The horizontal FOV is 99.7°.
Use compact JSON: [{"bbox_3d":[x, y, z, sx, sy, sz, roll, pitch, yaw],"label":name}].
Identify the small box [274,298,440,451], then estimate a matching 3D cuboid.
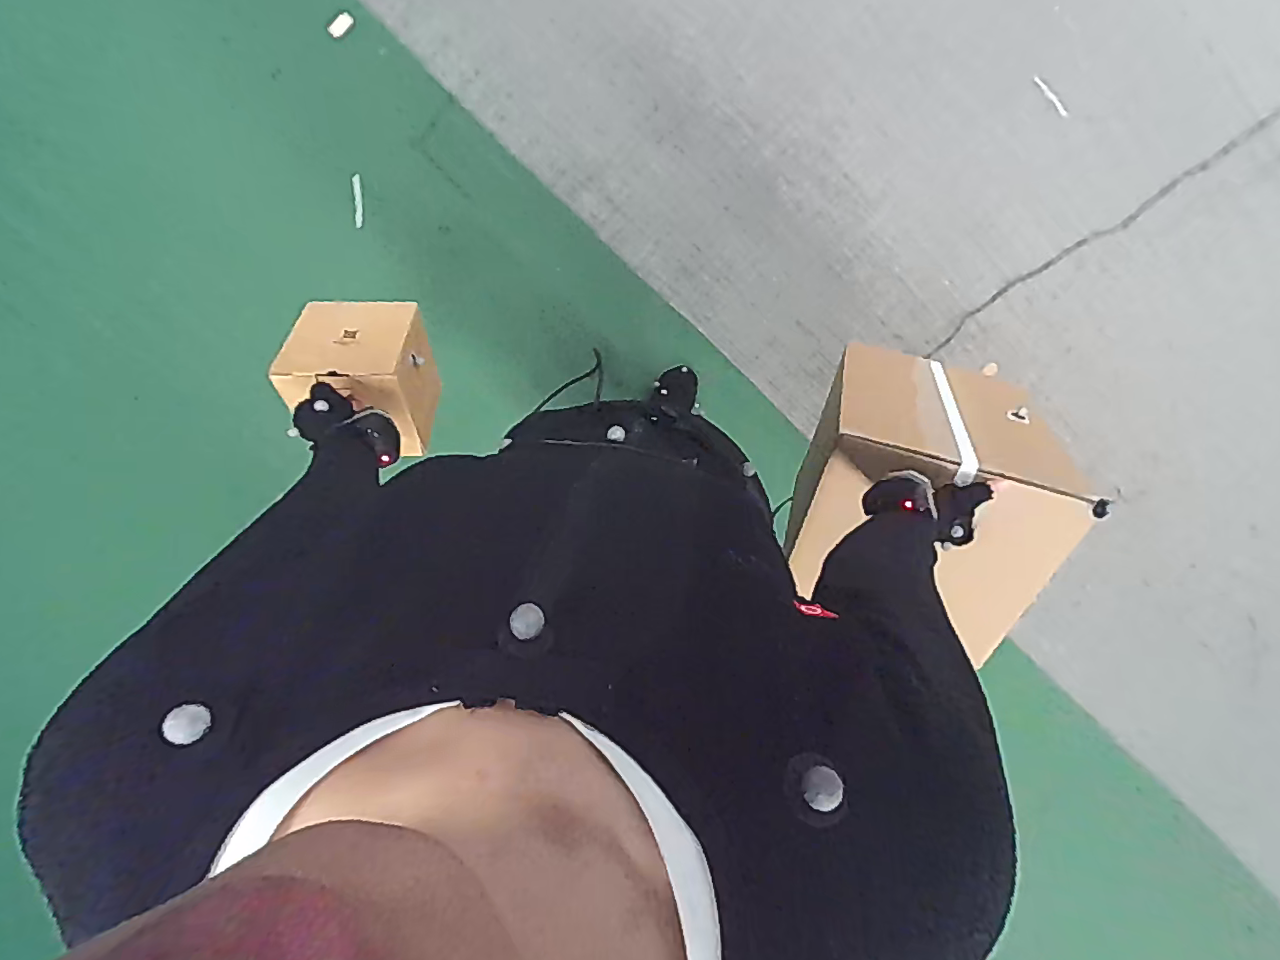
[{"bbox_3d":[-0.425,-0.165,0.852,0.168,0.179,0.176,-2,142,-4],"label":"small box"}]
